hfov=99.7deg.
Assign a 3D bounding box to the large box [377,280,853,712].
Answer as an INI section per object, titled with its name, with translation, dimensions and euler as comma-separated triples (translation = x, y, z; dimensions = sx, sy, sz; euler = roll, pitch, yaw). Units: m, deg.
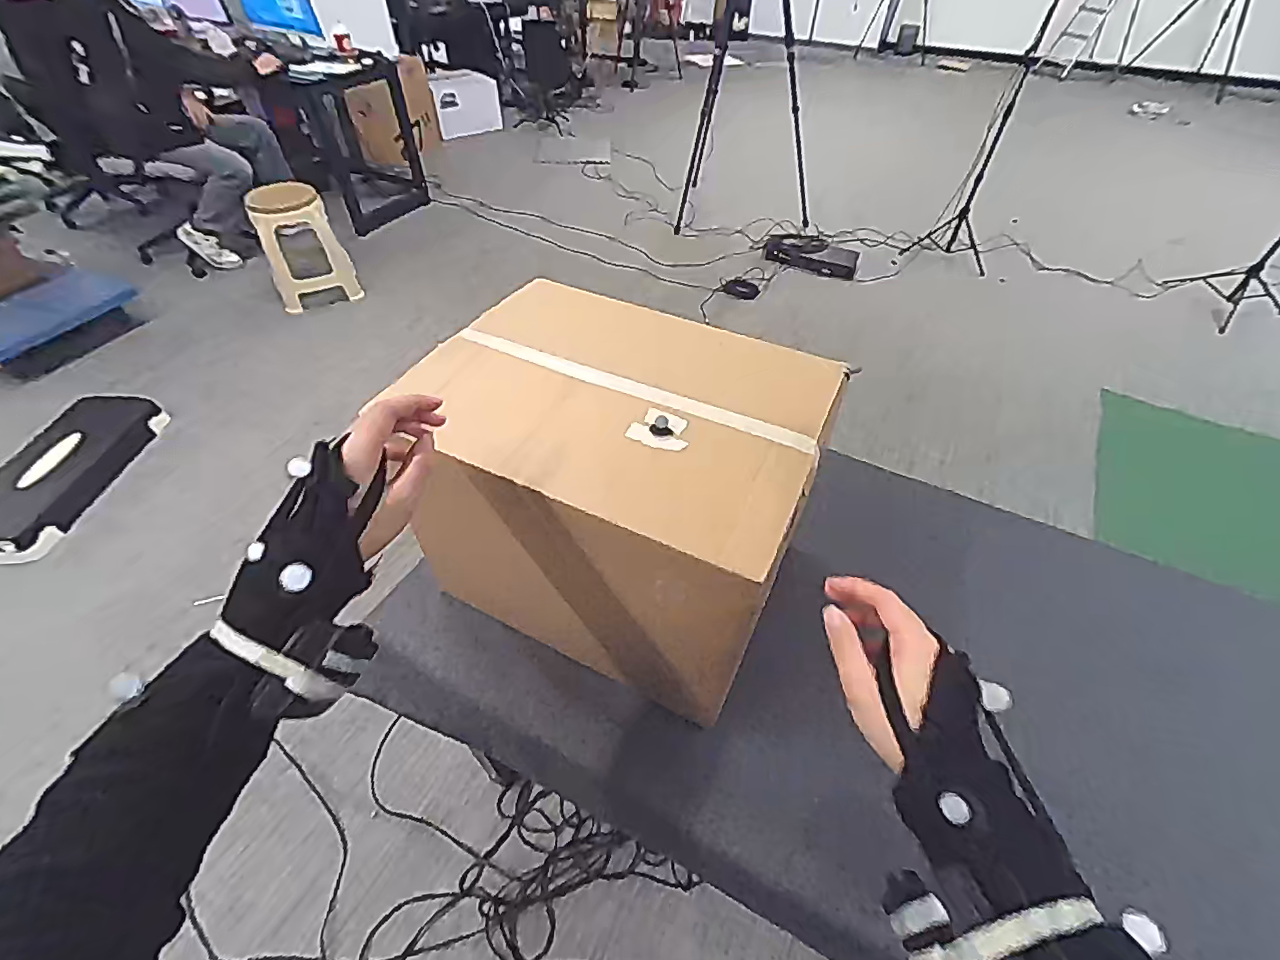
[large box]
translation = -0.016, 0.007, 0.660
dimensions = 0.408, 0.320, 0.320
euler = 22, 51, 16
